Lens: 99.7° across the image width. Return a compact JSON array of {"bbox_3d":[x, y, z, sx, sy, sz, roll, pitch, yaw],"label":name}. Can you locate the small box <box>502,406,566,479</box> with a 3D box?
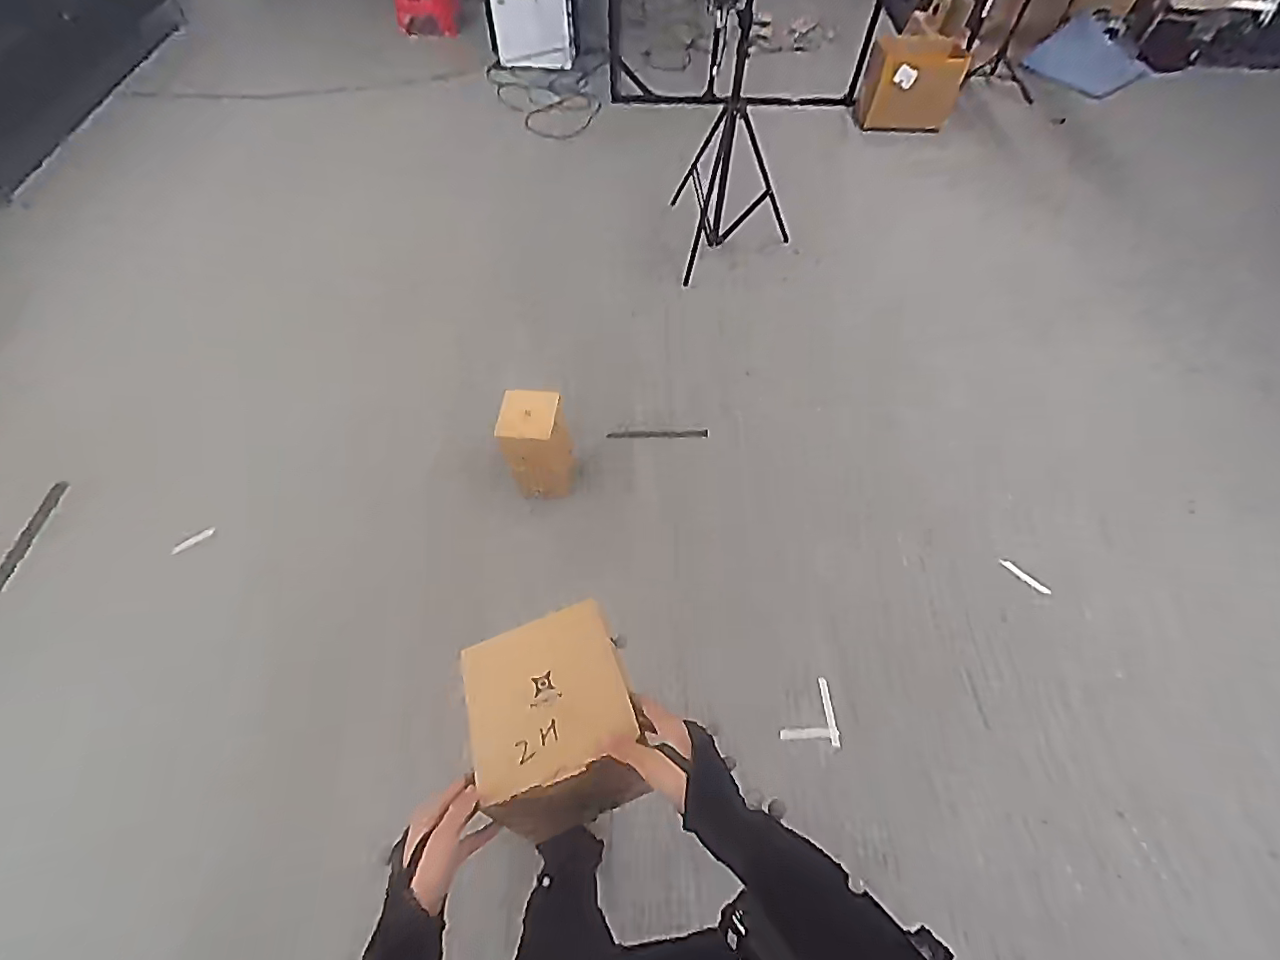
[{"bbox_3d":[-0.335,-0.124,1.741,0.168,0.176,0.179,2,58,1],"label":"small box"}]

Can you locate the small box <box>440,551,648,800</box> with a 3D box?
[{"bbox_3d":[-0.102,0.214,0.593,0.168,0.176,0.179,-20,48,-6],"label":"small box"}]

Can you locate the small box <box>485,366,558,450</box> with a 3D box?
[{"bbox_3d":[-0.343,-0.212,1.604,0.168,0.176,0.179,4,60,2],"label":"small box"}]
